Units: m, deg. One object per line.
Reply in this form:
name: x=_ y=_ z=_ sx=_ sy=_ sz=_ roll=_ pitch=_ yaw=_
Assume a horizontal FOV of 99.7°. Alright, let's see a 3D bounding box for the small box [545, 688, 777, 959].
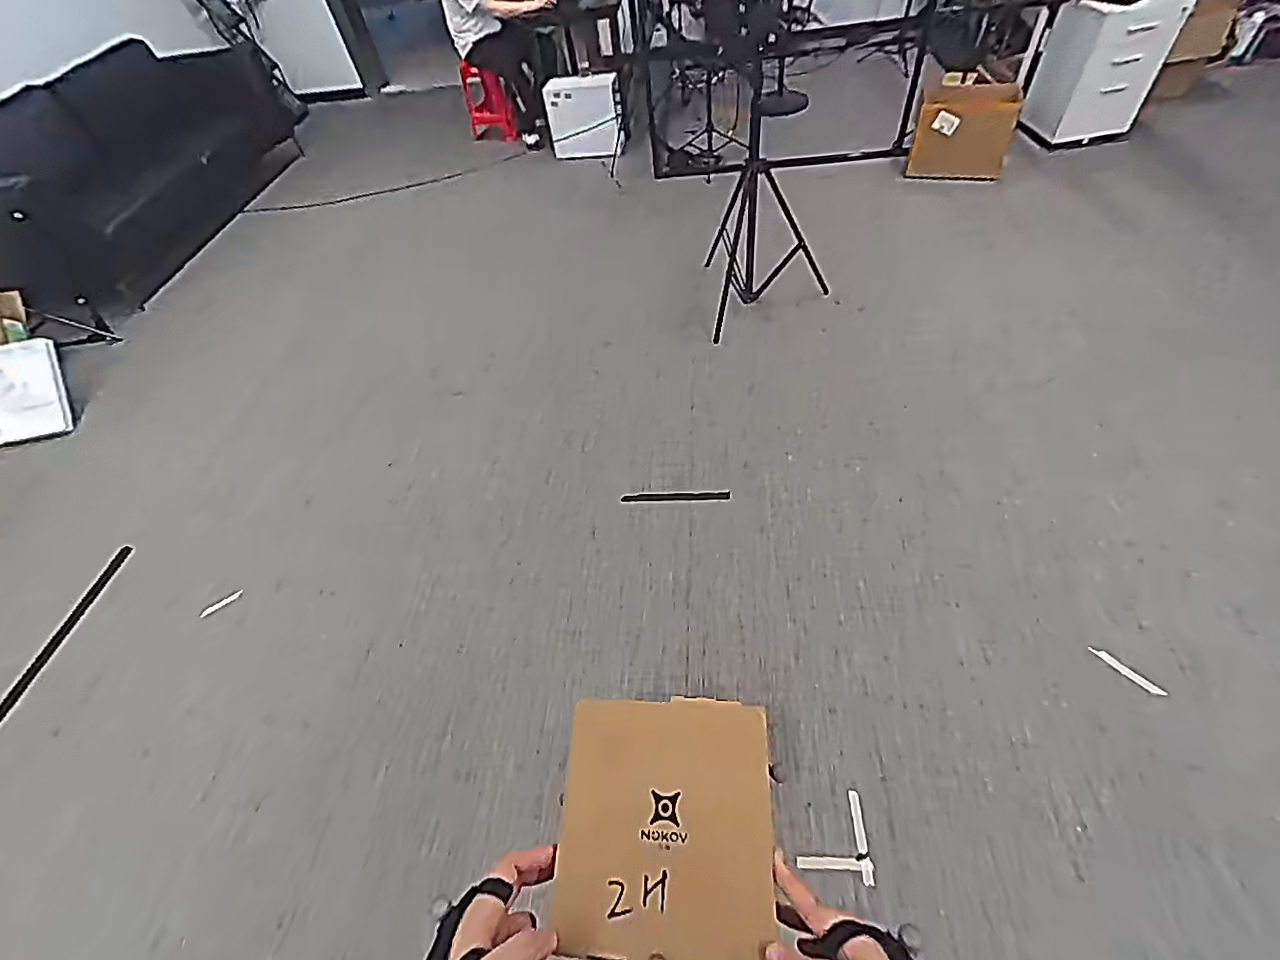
small box: x=0.030 y=0.298 z=0.483 sx=0.168 sy=0.176 sz=0.179 roll=-2 pitch=57 yaw=10
